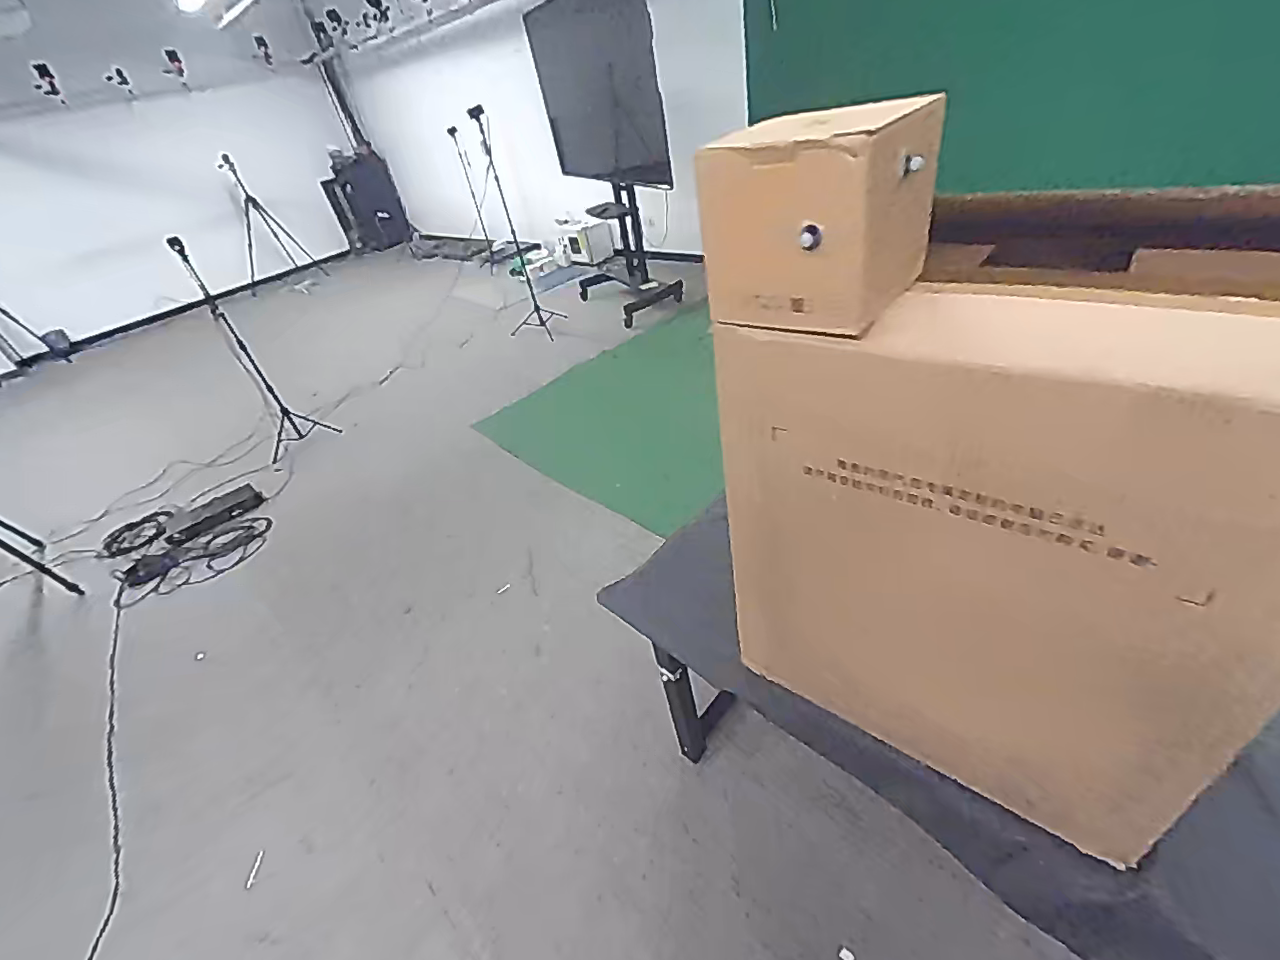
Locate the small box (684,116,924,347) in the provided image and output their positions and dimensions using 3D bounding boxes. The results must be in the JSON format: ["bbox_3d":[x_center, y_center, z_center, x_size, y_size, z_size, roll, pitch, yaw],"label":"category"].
[{"bbox_3d":[0.171,-0.251,0.559,0.168,0.176,0.179,20,46,37],"label":"small box"}]
